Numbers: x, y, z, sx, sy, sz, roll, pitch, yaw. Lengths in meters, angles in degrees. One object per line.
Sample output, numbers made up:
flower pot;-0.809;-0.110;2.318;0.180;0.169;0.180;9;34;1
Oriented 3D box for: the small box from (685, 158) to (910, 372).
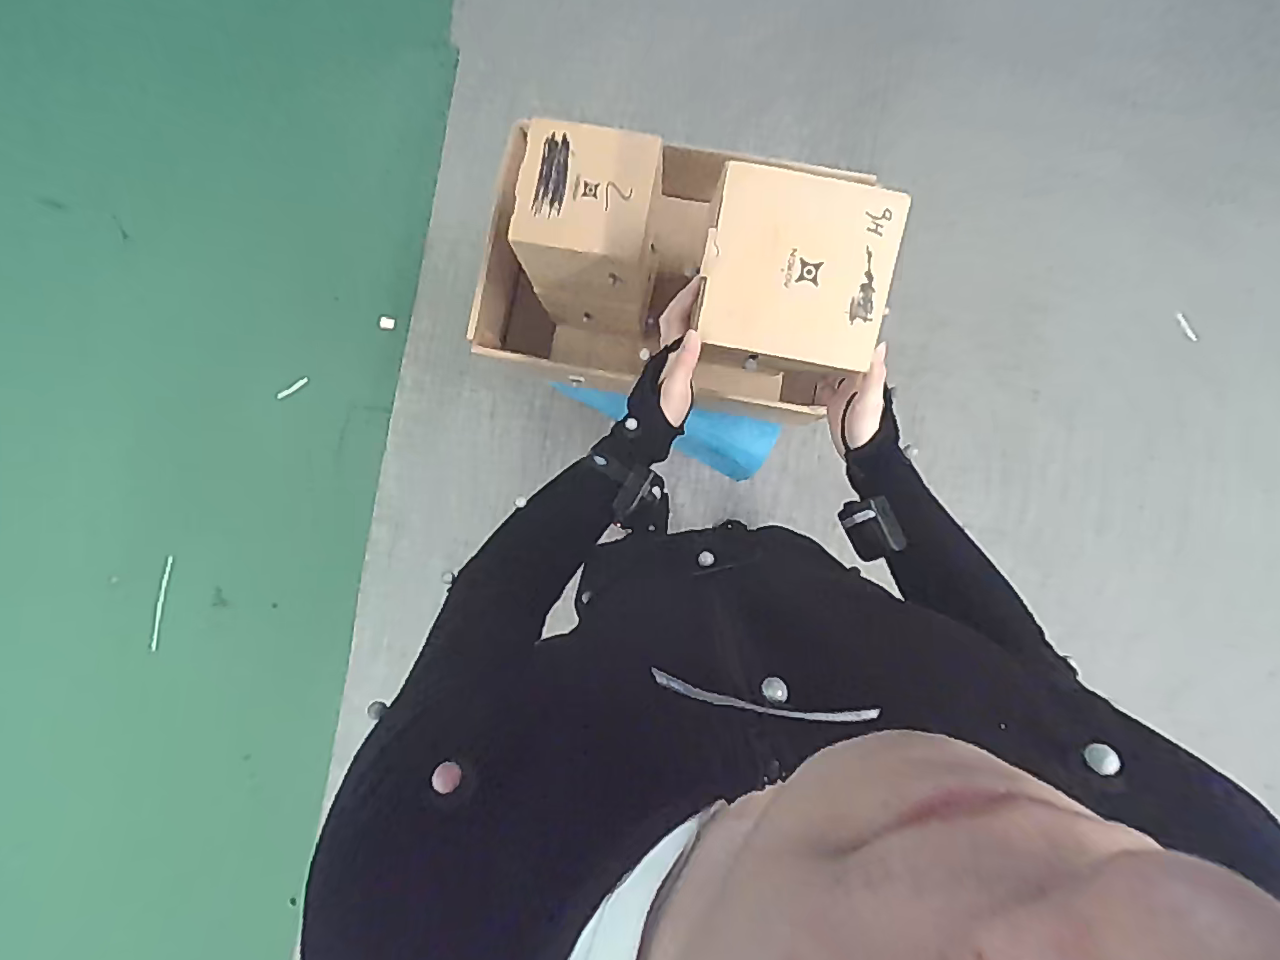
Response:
small box;0.149;-0.213;0.584;0.179;0.176;0.168;11;100;0
